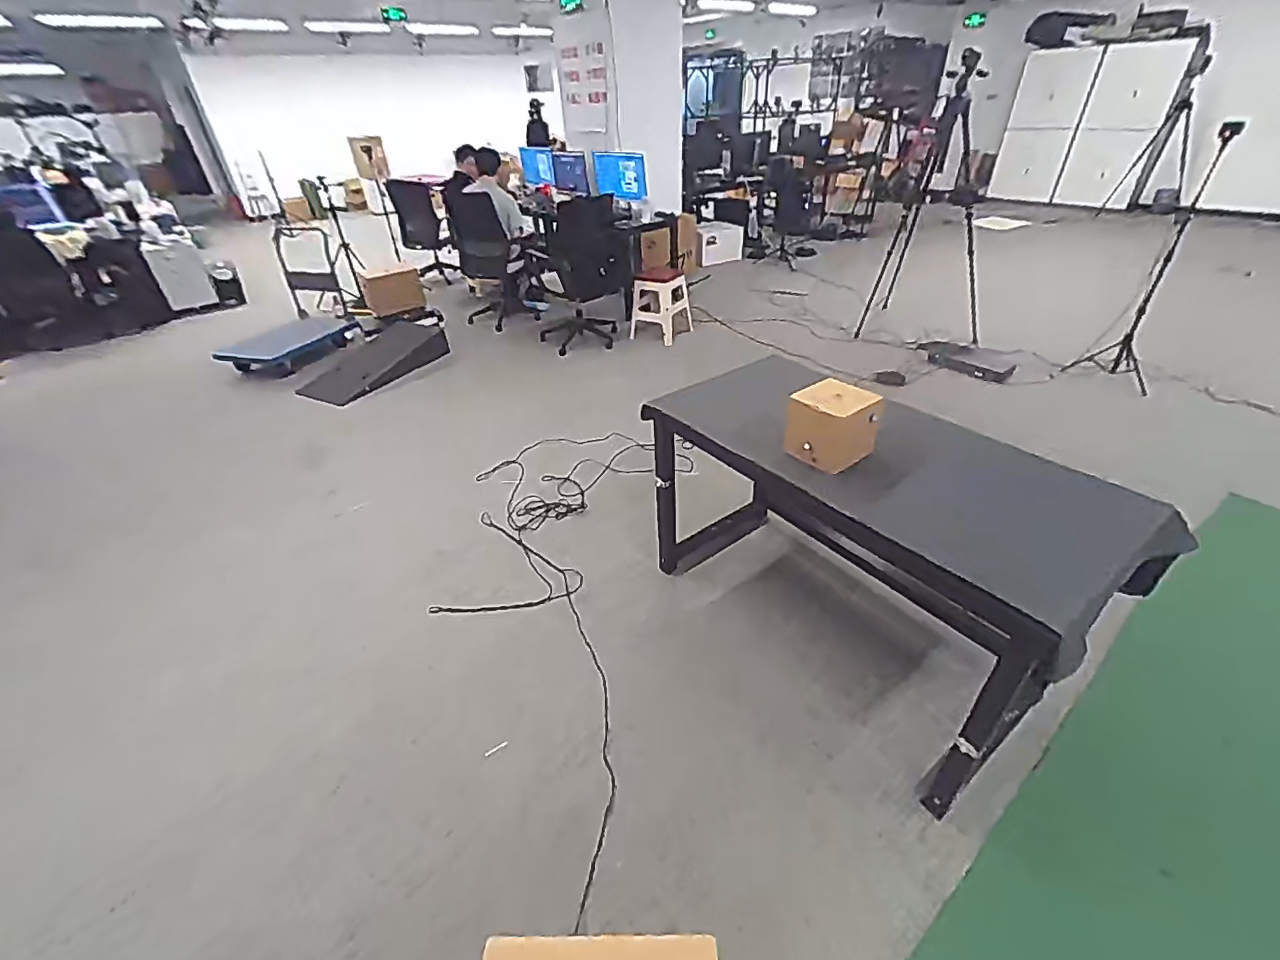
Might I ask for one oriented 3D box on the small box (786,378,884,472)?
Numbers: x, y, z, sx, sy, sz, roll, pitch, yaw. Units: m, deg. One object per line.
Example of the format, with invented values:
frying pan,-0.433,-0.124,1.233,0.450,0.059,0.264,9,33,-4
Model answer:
small box,0.504,-0.146,1.420,0.179,0.176,0.168,-25,40,-29
